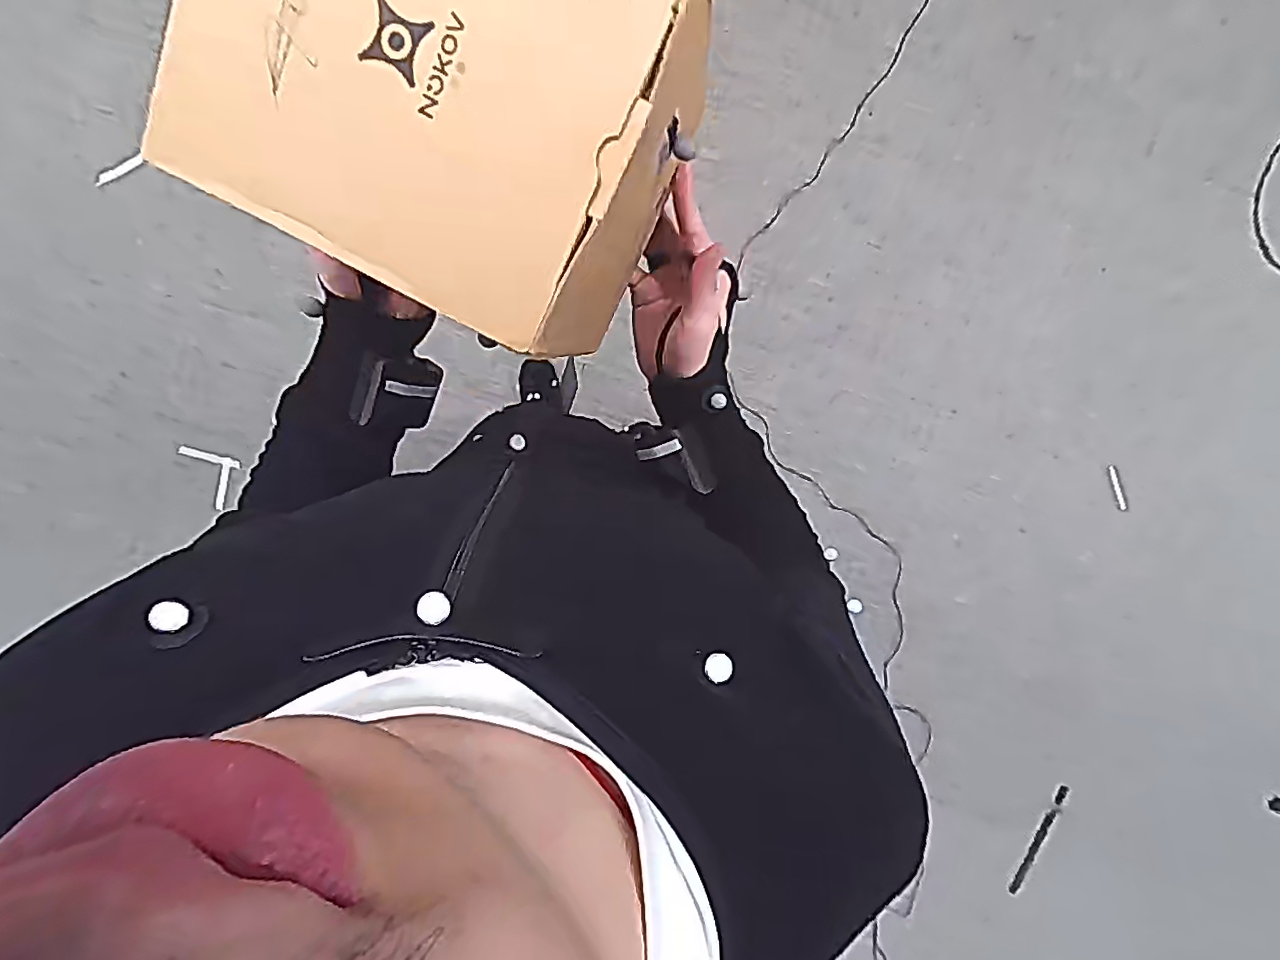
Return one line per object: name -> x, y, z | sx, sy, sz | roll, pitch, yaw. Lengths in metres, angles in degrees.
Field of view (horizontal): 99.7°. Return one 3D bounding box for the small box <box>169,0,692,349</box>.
small box -> -0.082, -0.184, 0.291 | 0.179, 0.176, 0.168 | 26, 103, -1
